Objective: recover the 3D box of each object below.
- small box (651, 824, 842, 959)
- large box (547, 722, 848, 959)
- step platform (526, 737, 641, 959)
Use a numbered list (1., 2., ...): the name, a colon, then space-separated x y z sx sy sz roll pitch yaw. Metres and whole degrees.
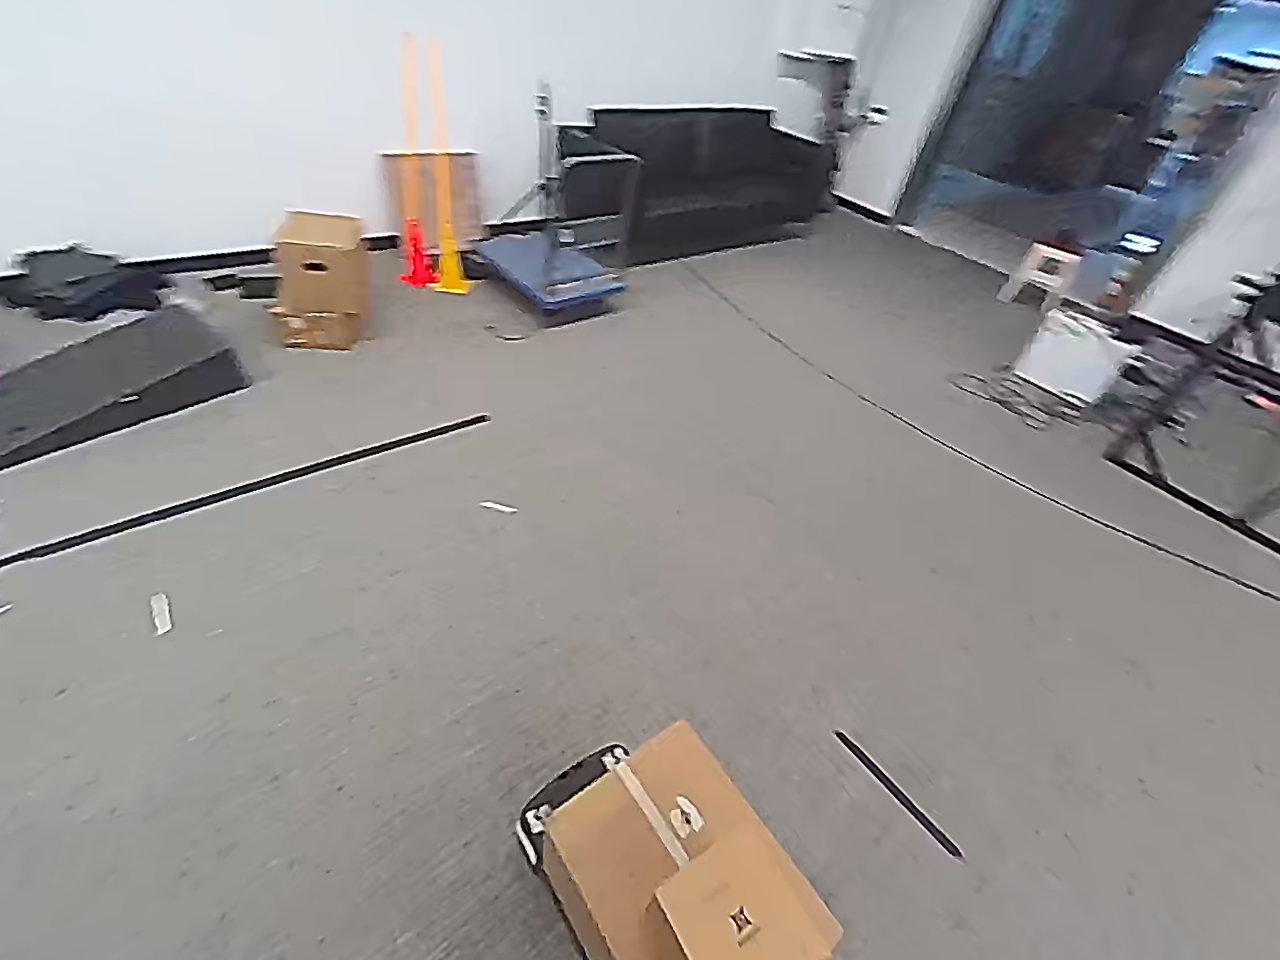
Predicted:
1. small box: 0.132 0.617 0.734 0.168 0.176 0.179 -18 48 -26
2. large box: 0.068 0.739 0.955 0.320 0.320 0.408 -22 50 -31
3. step platform: 0.014 0.908 1.116 0.286 0.204 0.684 -17 48 -27
